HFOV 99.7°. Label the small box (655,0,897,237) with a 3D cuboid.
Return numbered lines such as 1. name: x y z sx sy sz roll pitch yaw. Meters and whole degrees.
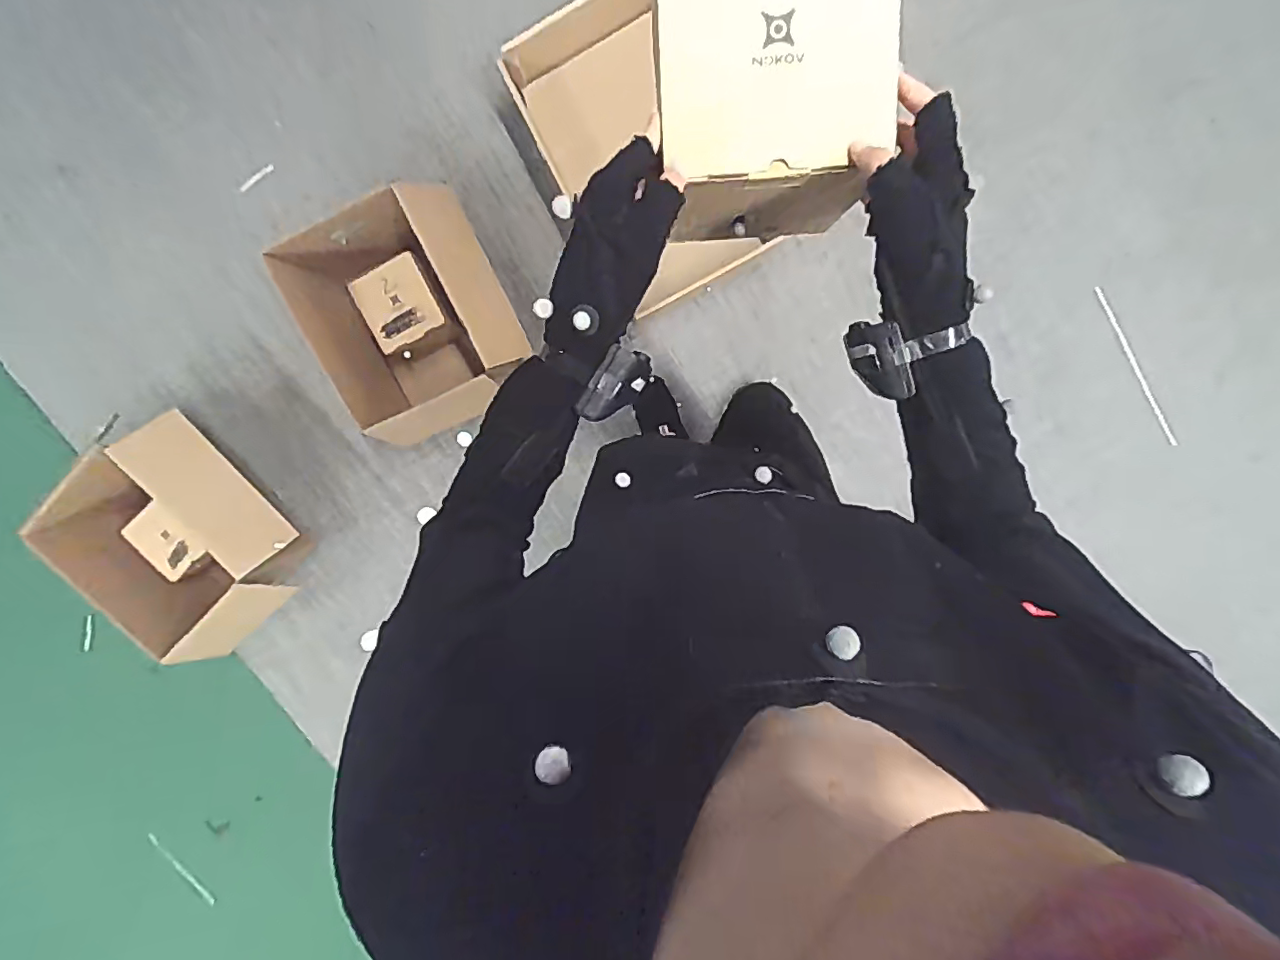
1. small box: 0.097 -0.322 0.452 0.168 0.176 0.179 -3 100 4
